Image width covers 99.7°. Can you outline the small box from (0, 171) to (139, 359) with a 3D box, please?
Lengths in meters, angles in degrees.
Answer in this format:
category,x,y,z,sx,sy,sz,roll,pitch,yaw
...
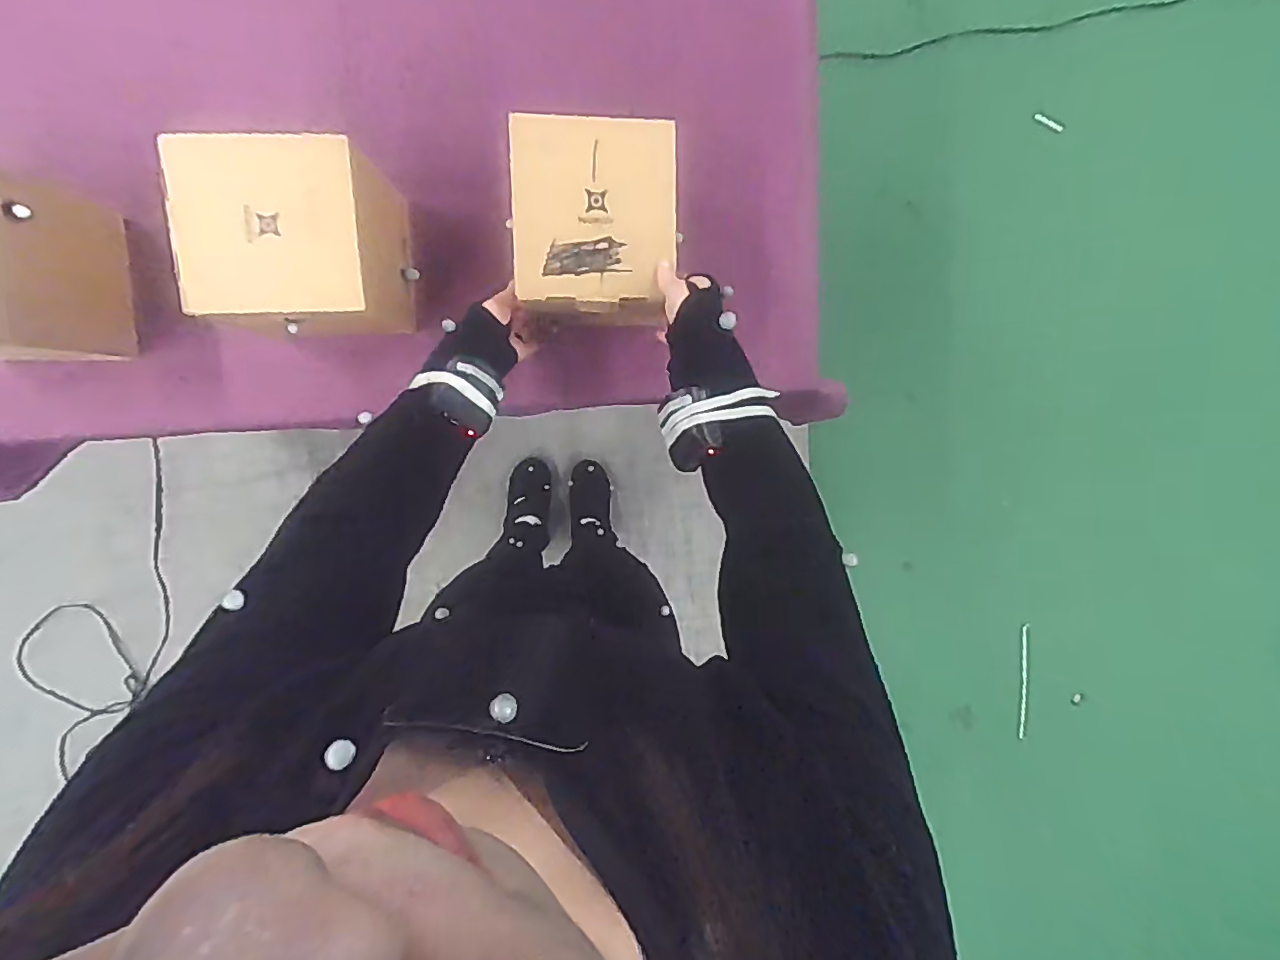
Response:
category,x,y,z,sx,sy,sz,roll,pitch,yaw
small box,-0.699,-0.227,0.586,0.168,0.176,0.179,0,96,-4

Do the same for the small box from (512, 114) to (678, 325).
category,x,y,z,sx,sy,sz,roll,pitch,yaw
small box,-0.051,-0.278,0.618,0.168,0.176,0.179,-1,96,-6

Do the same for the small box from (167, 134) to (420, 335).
category,x,y,z,sx,sy,sz,roll,pitch,yaw
small box,-0.367,-0.257,0.605,0.179,0.176,0.168,-1,98,-4
